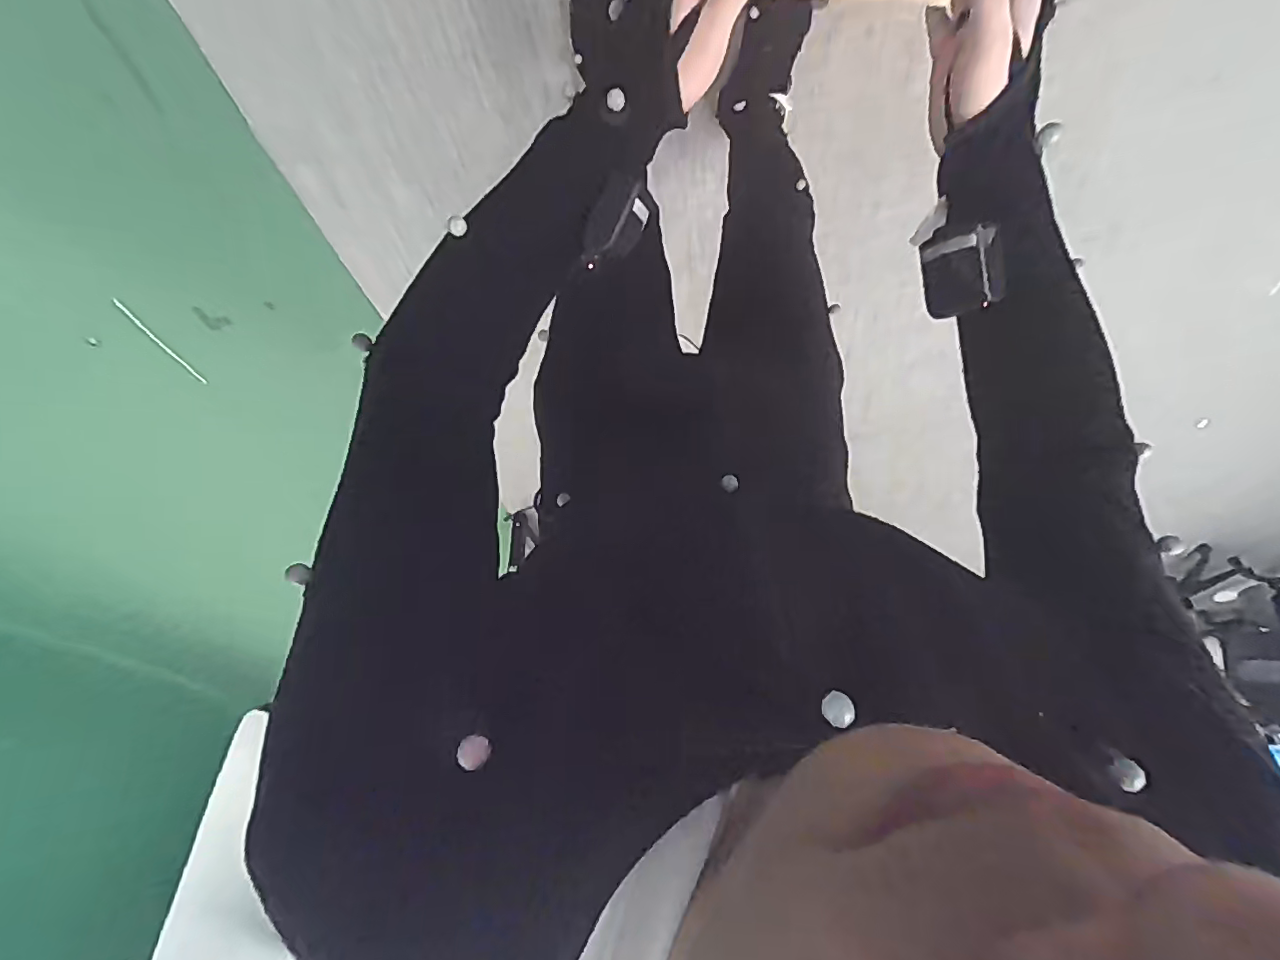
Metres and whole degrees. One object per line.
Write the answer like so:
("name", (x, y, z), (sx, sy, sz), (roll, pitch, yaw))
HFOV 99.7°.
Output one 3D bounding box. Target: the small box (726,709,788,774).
("small box", (0.388, 0.876, 1.810), (0.179, 0.176, 0.168), (-11, 145, 12))
